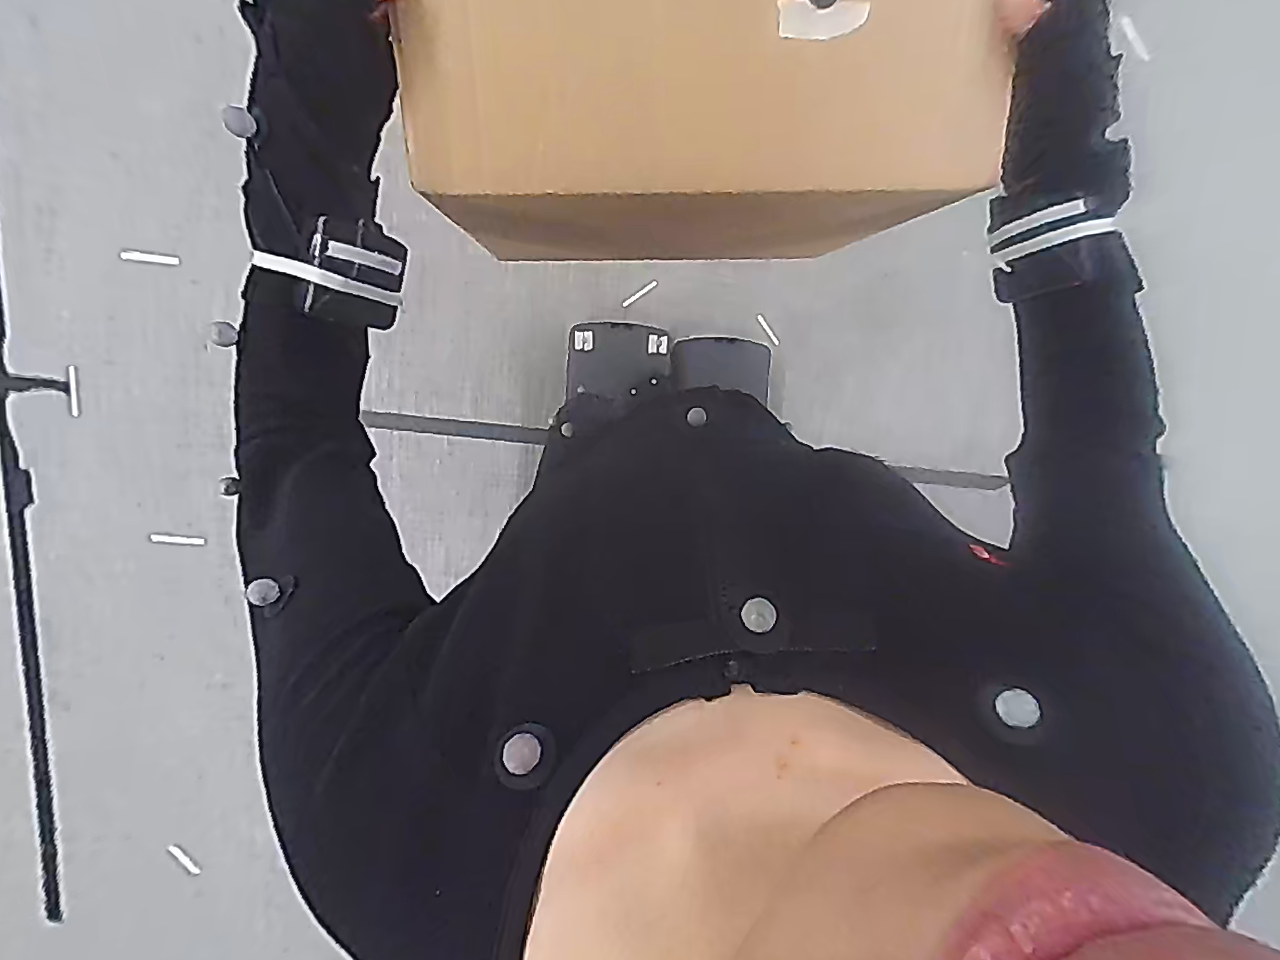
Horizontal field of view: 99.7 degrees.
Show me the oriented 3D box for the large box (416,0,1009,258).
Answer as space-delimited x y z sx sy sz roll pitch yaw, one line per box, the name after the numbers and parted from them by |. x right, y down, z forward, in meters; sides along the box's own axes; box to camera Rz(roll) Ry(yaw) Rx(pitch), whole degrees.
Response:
0.038 -0.394 0.488 0.408 0.320 0.320 -3 105 -5 | large box
